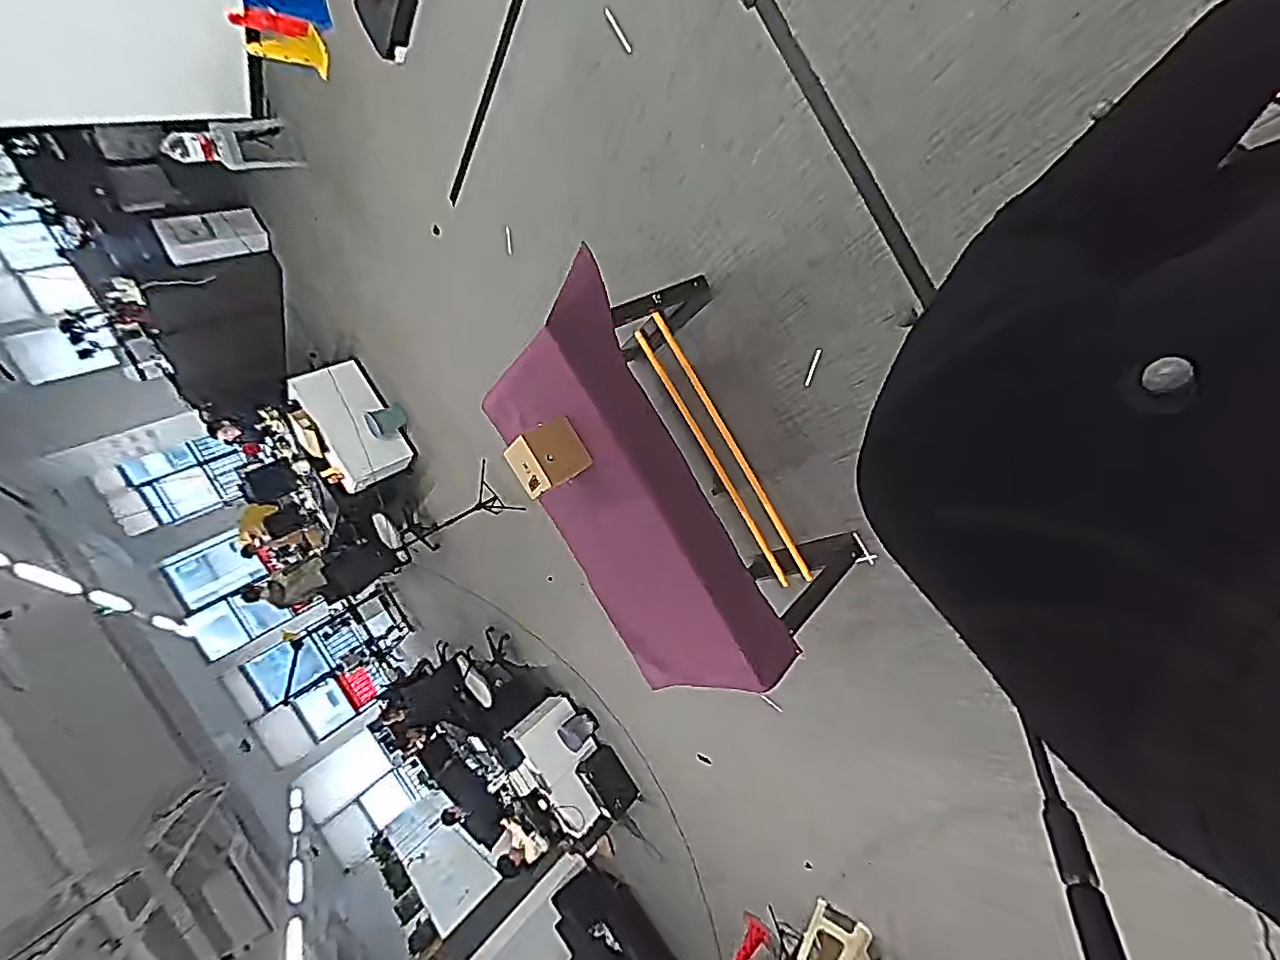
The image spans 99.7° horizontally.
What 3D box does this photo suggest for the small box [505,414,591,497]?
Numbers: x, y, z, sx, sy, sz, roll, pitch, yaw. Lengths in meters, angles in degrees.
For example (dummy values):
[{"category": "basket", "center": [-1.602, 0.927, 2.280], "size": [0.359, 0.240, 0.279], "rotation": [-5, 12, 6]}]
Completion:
[{"category": "small box", "center": [-0.278, -0.075, 1.655], "size": [0.179, 0.176, 0.168], "rotation": [59, 144, -2]}]
